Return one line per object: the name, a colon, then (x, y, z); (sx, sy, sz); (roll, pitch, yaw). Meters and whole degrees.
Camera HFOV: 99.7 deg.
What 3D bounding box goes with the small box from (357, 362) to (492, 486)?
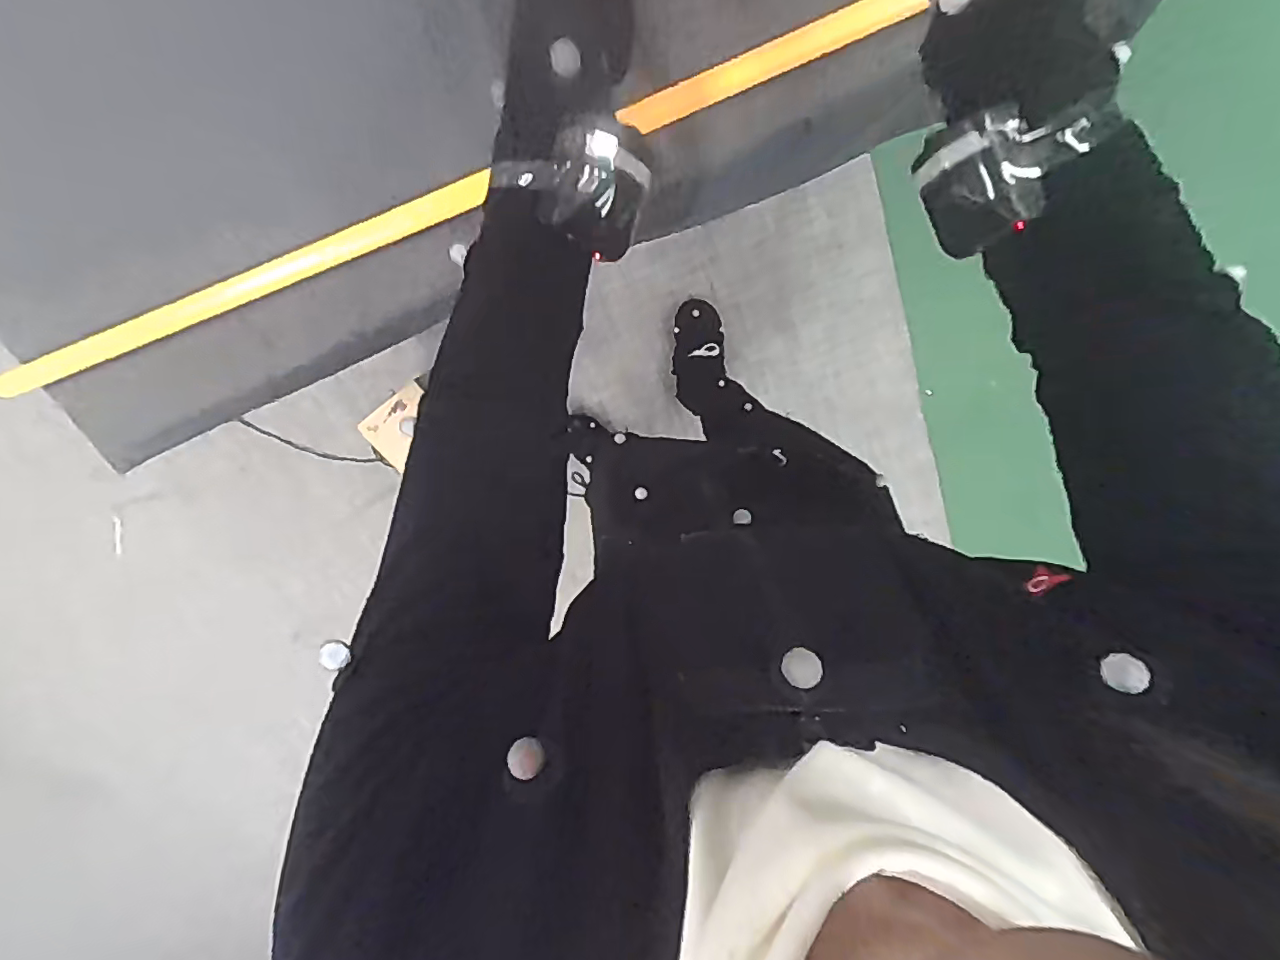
small box: (-0.448, -0.126, 1.156); (0.168, 0.176, 0.179); (-34, 109, 17)
